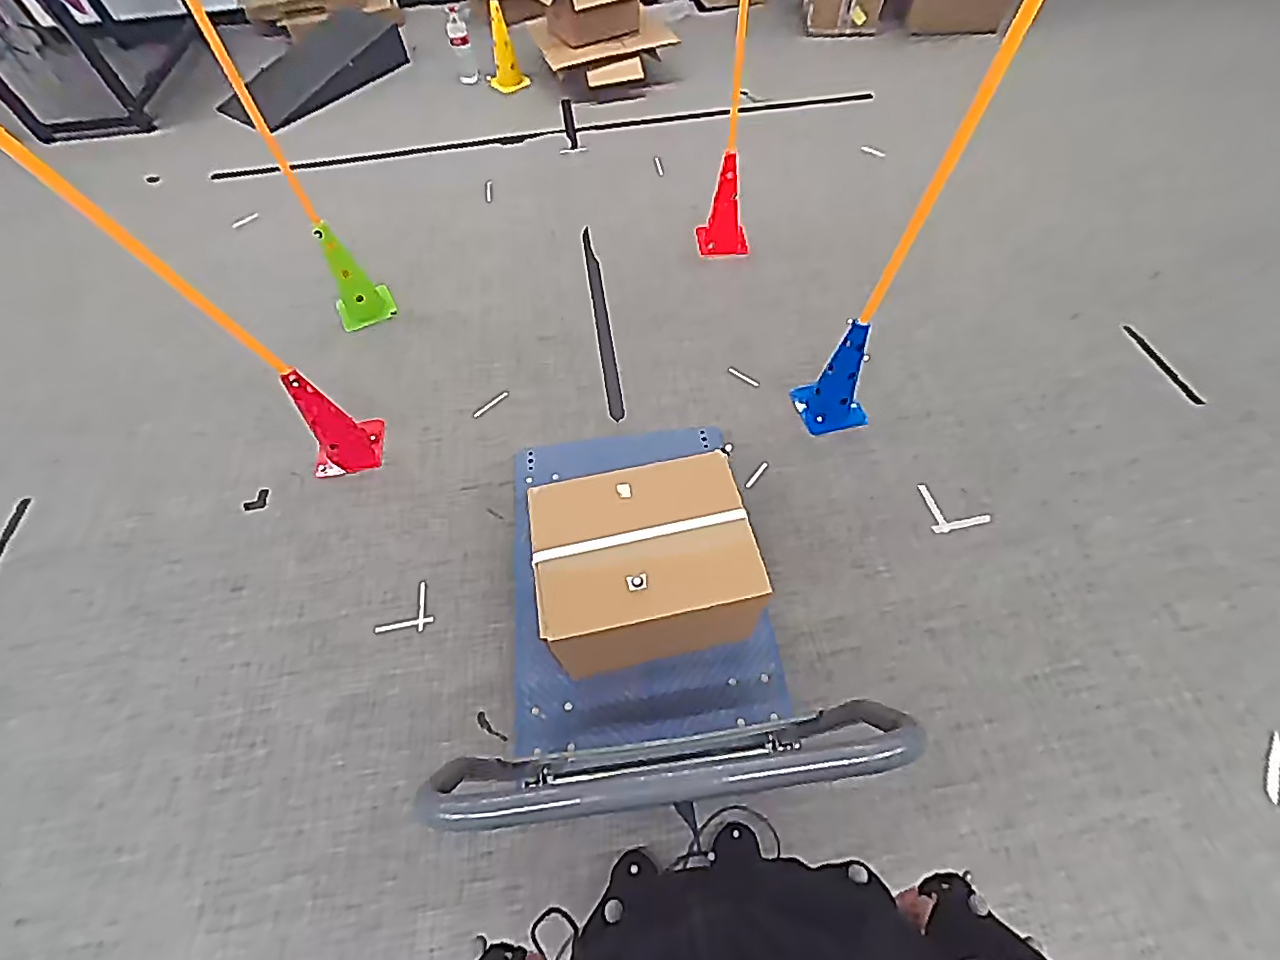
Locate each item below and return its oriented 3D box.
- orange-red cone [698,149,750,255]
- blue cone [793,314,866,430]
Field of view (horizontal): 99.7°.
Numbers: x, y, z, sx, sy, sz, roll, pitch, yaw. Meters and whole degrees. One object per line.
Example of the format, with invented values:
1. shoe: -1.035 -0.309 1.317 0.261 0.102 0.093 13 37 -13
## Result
1. orange-red cone: 0.339 -1.078 2.076 0.199 0.360 0.198 -3 59 -1
2. blue cone: 0.610 -0.333 1.626 0.193 0.380 0.192 -12 58 -6
